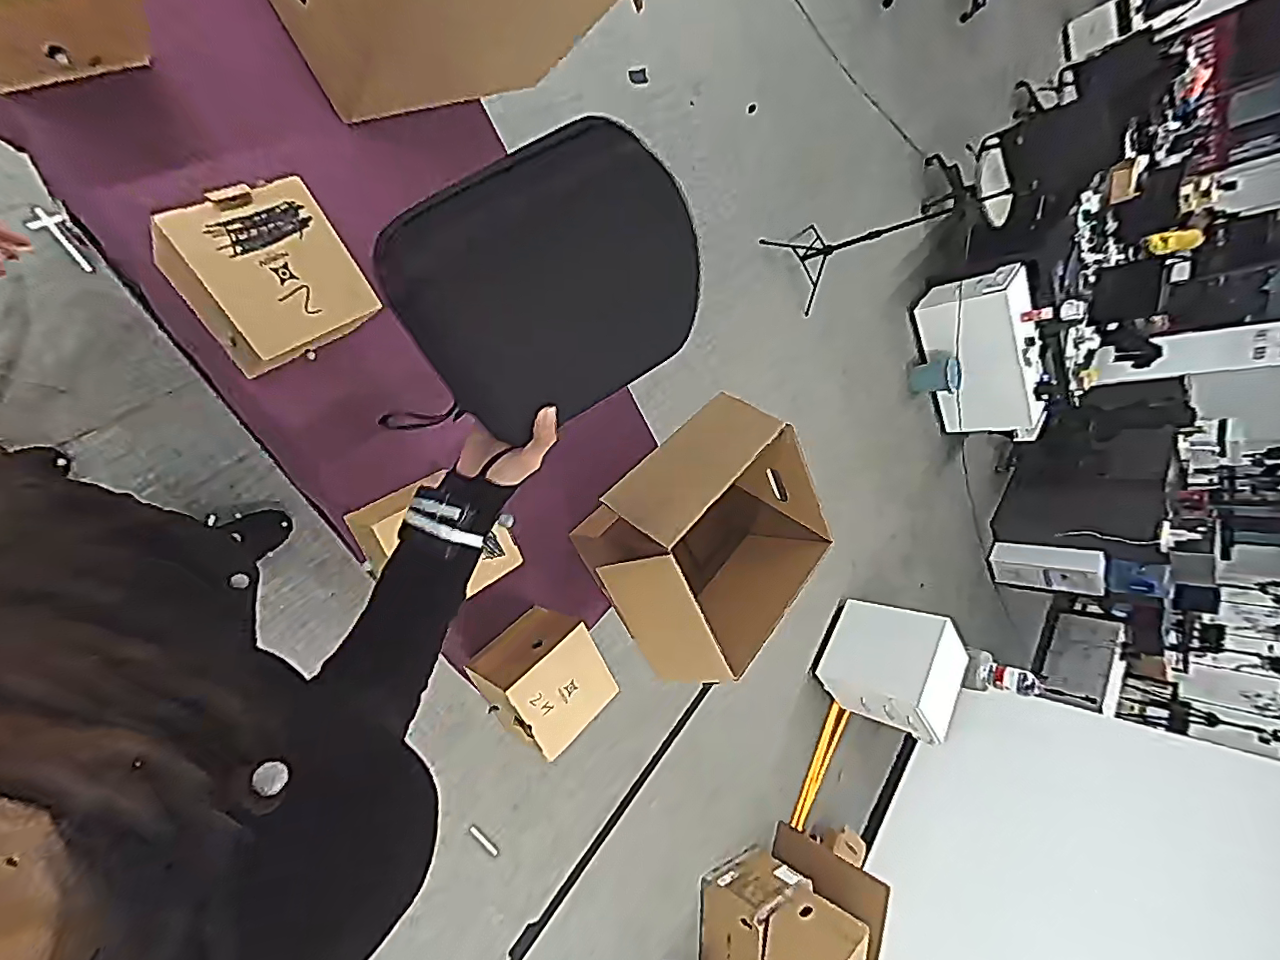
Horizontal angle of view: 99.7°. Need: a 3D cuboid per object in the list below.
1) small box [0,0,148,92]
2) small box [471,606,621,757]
[{"bbox_3d":[-0.666,-0.553,0.559,0.168,0.176,0.179,-46,120,-30],"label":"small box"},{"bbox_3d":[-0.173,0.354,0.991,0.179,0.176,0.168,-38,113,-34],"label":"small box"}]
